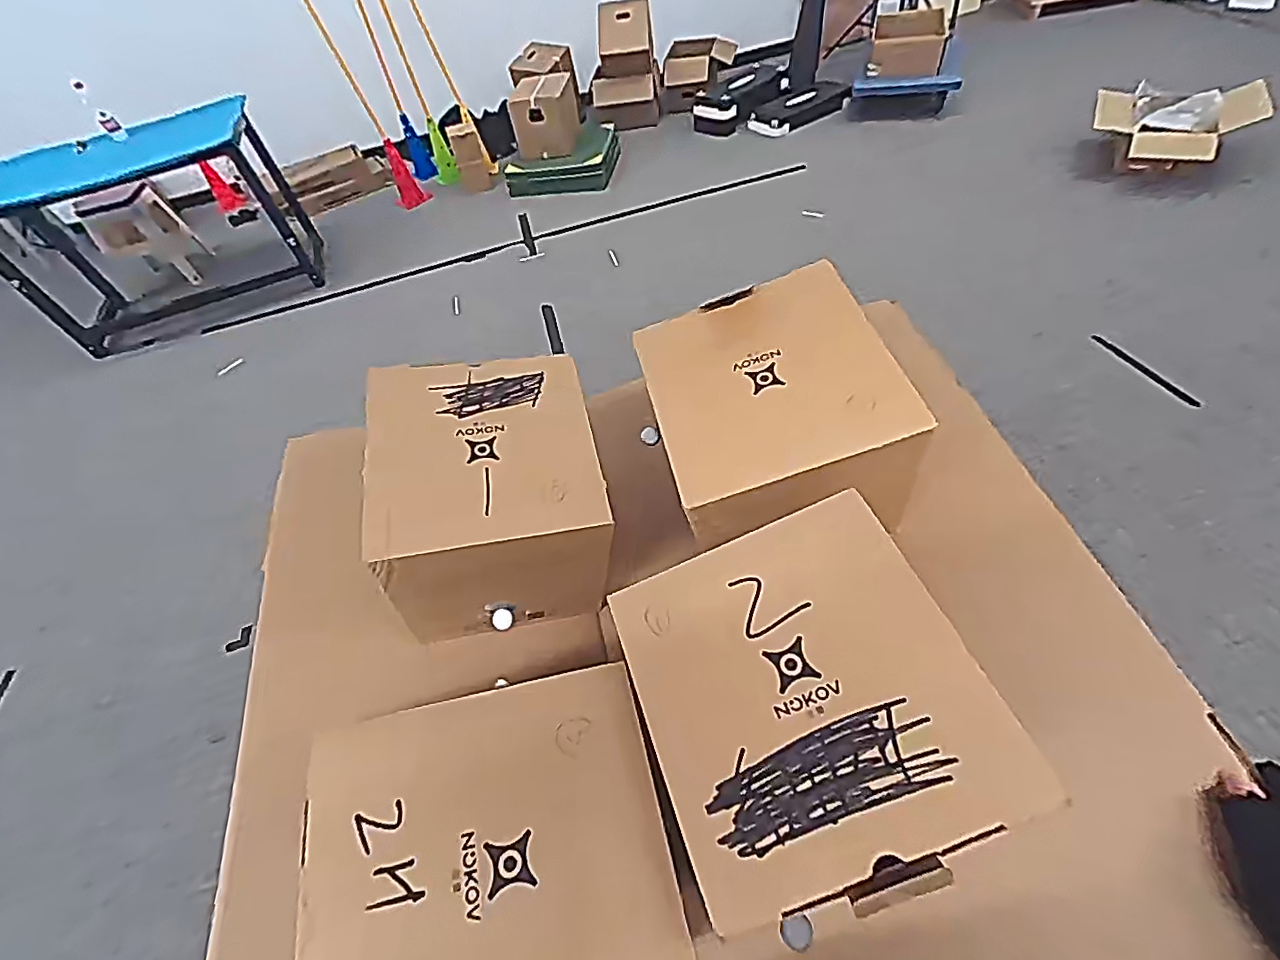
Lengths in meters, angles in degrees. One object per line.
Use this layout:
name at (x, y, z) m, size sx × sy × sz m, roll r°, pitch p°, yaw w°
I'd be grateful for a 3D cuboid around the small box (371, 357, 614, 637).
small box at (-0.124, 0.017, 0.480) m, size 0.168 × 0.176 × 0.179 m, roll -8°, pitch 57°, yaw -12°

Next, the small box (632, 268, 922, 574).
small box at (0.108, -0.035, 0.460) m, size 0.168 × 0.176 × 0.179 m, roll -19°, pitch 56°, yaw 6°
